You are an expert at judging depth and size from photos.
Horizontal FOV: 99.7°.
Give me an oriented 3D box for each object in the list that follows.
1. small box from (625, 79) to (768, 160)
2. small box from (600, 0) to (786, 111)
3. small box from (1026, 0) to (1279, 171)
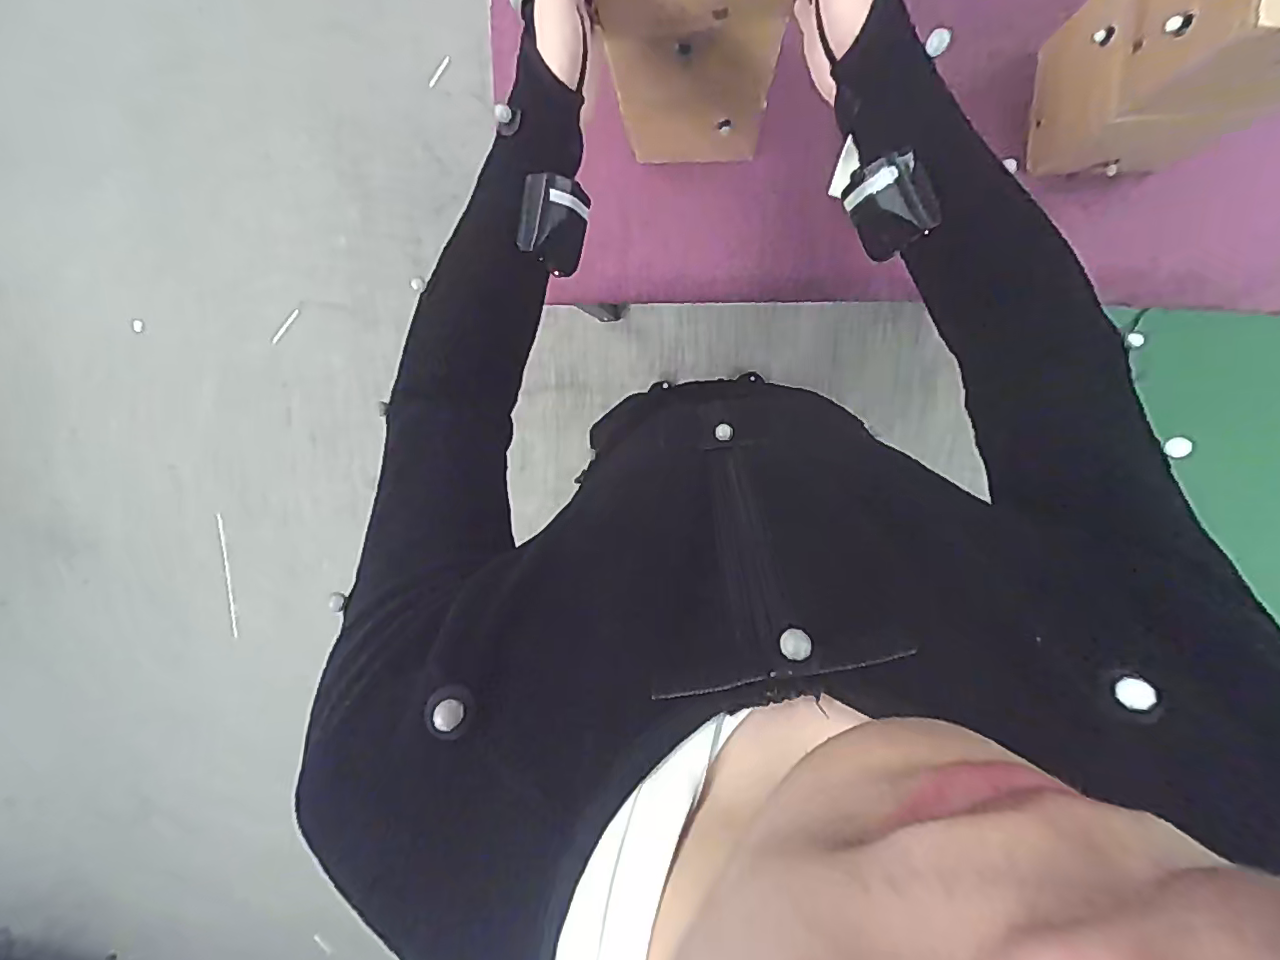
[{"bbox_3d":[0.078,-0.552,0.729,0.179,0.176,0.168,3,100,6],"label":"small box"},{"bbox_3d":[0.059,-0.519,0.571,0.179,0.176,0.168,3,101,7],"label":"small box"},{"bbox_3d":[0.627,-0.502,0.669,0.179,0.176,0.168,1,100,7],"label":"small box"}]
